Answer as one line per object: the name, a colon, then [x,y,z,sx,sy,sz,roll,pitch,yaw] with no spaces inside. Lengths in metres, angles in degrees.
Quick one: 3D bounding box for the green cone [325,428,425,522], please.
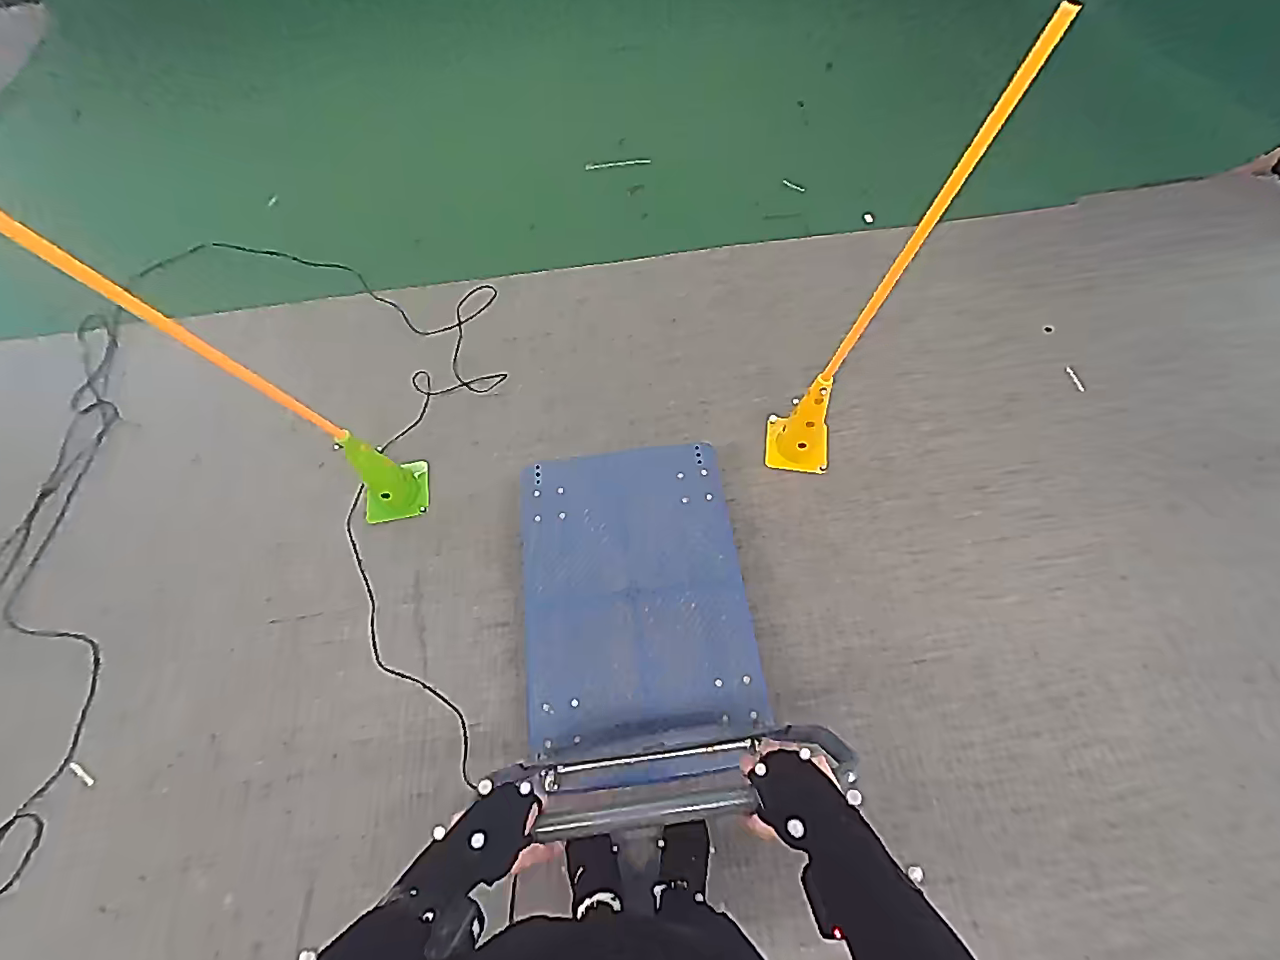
green cone: [-0.811,-0.047,1.609,0.202,0.368,0.200,-12,62,-3]
